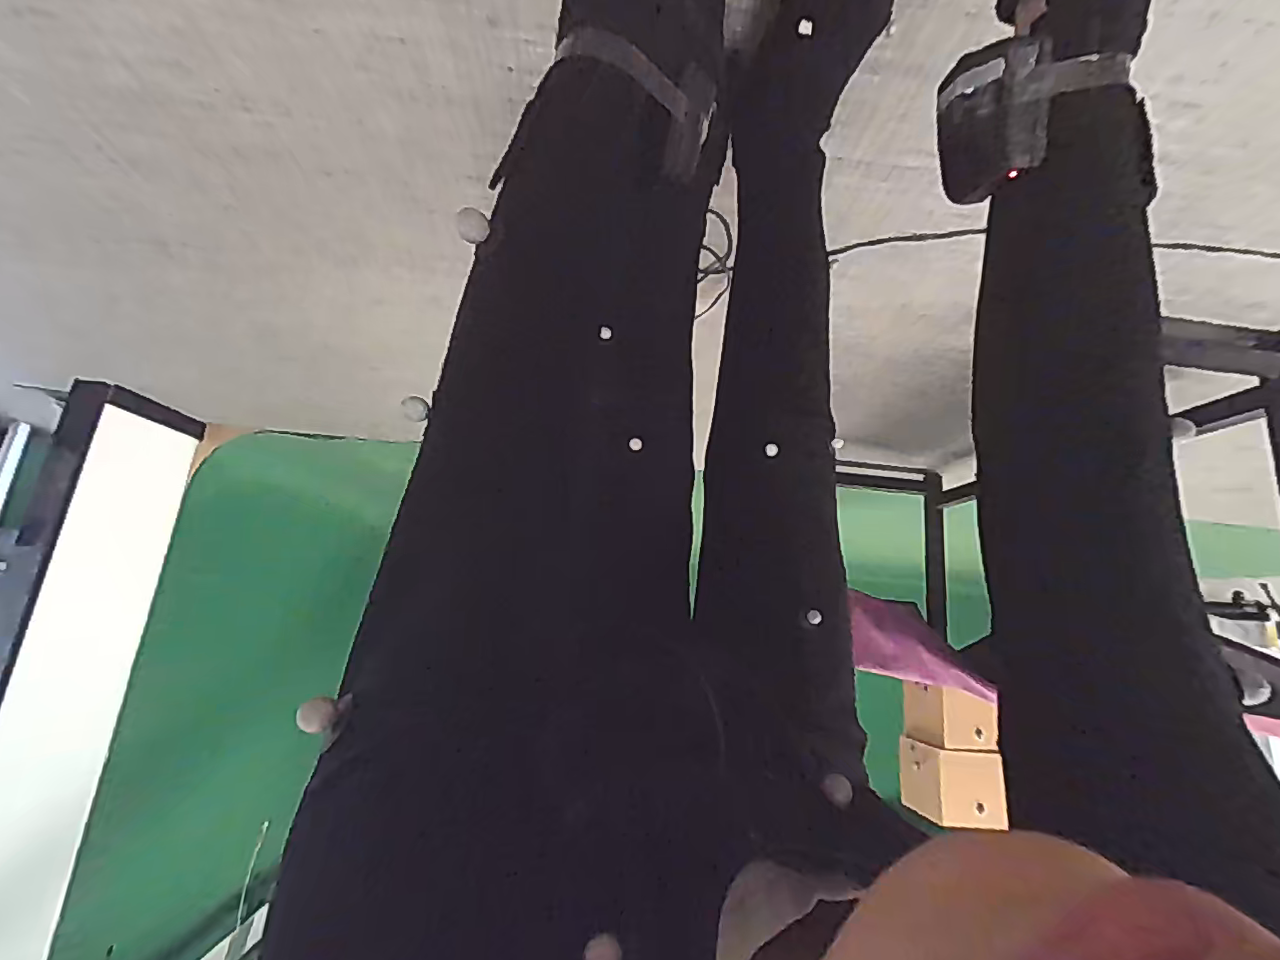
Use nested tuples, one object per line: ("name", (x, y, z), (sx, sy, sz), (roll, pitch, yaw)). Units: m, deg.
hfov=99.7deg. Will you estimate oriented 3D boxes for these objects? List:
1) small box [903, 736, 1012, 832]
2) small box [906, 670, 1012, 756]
("small box", (0.781, 0.747, 1.345), (0.179, 0.176, 0.168), (7, 165, -5))
("small box", (0.813, 0.592, 1.391), (0.179, 0.176, 0.168), (8, 165, -6))
